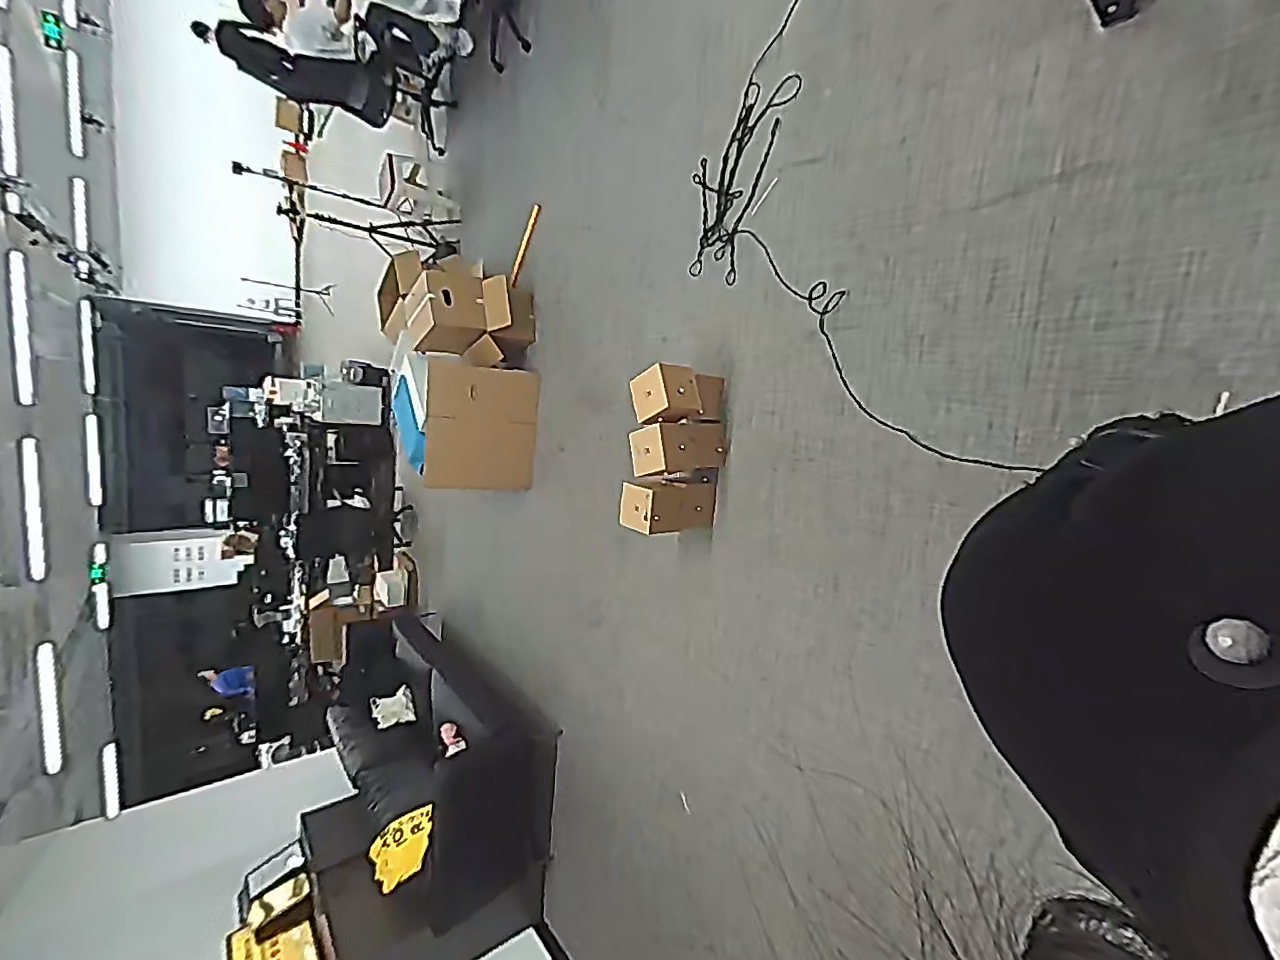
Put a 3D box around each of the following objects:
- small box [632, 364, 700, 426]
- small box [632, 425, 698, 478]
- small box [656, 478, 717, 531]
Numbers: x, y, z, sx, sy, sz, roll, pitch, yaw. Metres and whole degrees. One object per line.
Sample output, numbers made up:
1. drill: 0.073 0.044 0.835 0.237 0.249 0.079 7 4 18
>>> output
1. small box: 0.099 -0.301 1.941 0.179 0.176 0.168 -26 72 50
2. small box: 0.095 -0.104 1.960 0.179 0.176 0.168 -14 81 51
3. small box: 0.184 0.091 2.117 0.168 0.176 0.179 14 103 51
